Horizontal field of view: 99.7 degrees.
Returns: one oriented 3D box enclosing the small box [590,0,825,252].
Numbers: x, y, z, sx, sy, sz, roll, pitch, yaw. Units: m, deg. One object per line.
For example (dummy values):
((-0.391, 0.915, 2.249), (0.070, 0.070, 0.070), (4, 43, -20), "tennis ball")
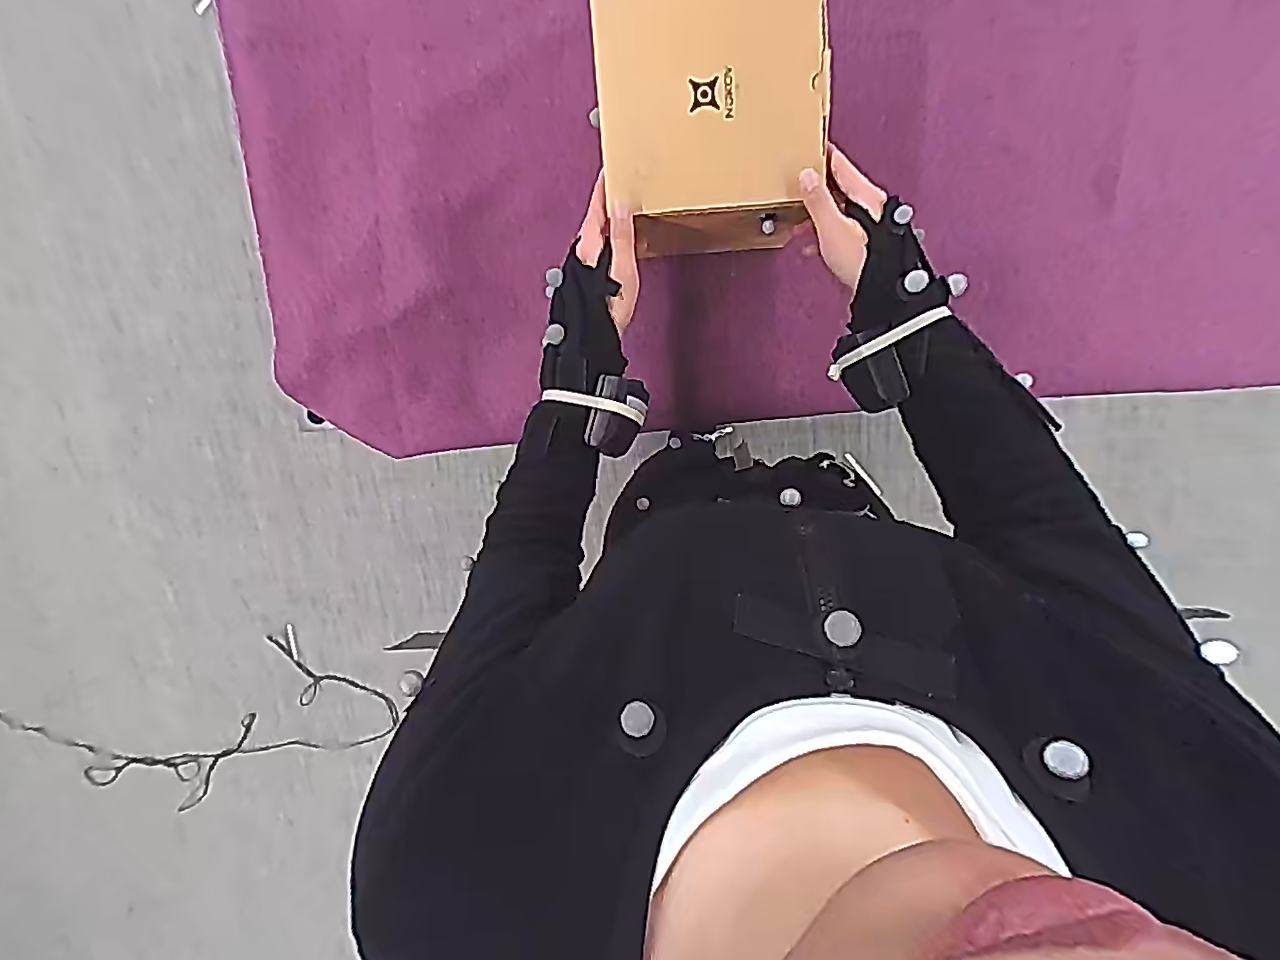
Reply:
((0.058, -0.315, 0.492), (0.179, 0.176, 0.168), (-3, 101, 3), "small box")
